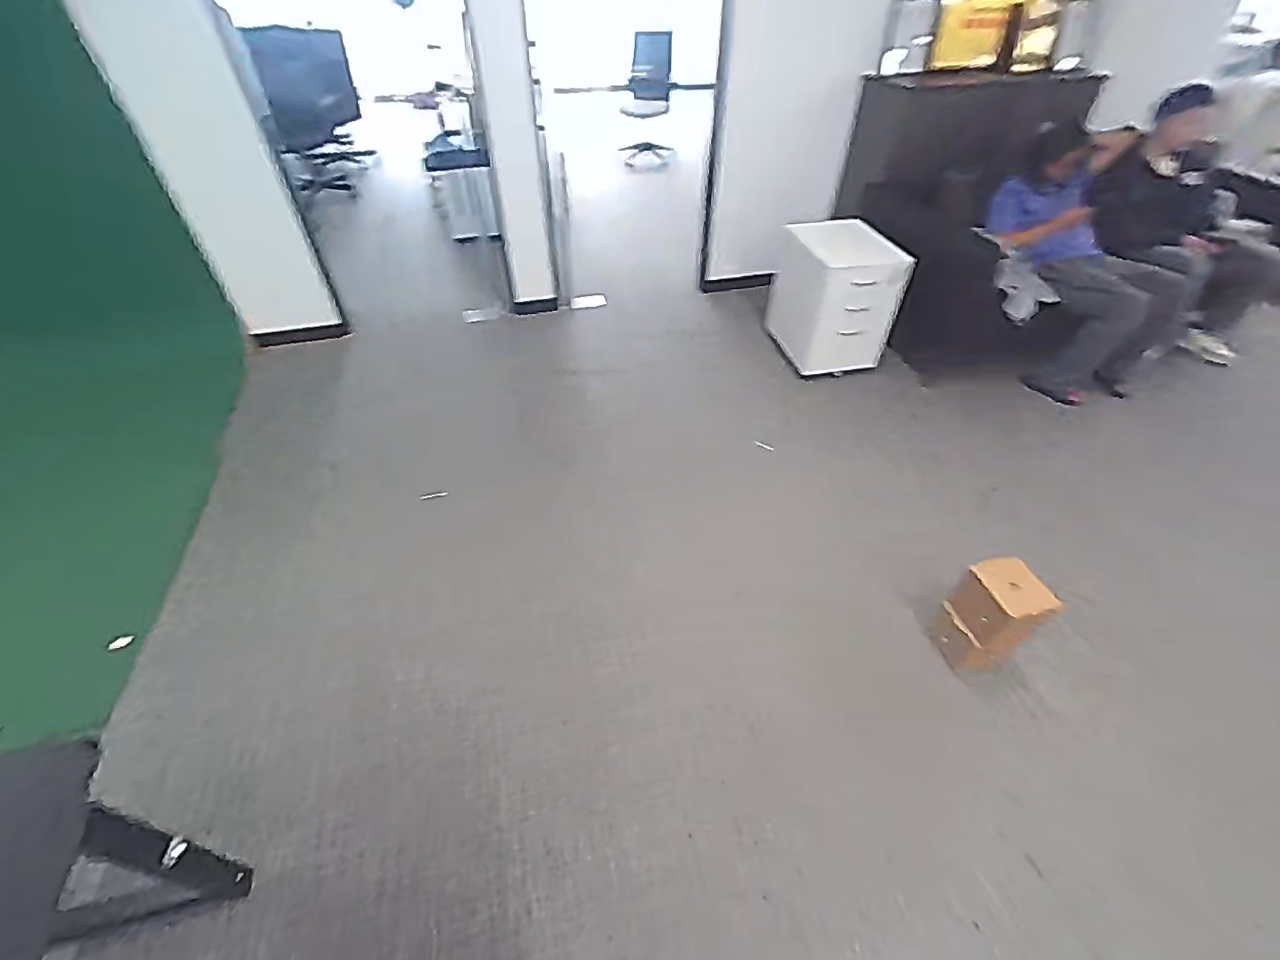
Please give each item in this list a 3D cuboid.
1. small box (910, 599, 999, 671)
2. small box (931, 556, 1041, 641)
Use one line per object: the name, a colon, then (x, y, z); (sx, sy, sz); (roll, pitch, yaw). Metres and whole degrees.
small box: (0.987, 0.479, 1.708); (0.179, 0.176, 0.168); (-10, 44, -13)
small box: (1.000, 0.352, 1.579); (0.168, 0.176, 0.179); (-8, 44, -13)
